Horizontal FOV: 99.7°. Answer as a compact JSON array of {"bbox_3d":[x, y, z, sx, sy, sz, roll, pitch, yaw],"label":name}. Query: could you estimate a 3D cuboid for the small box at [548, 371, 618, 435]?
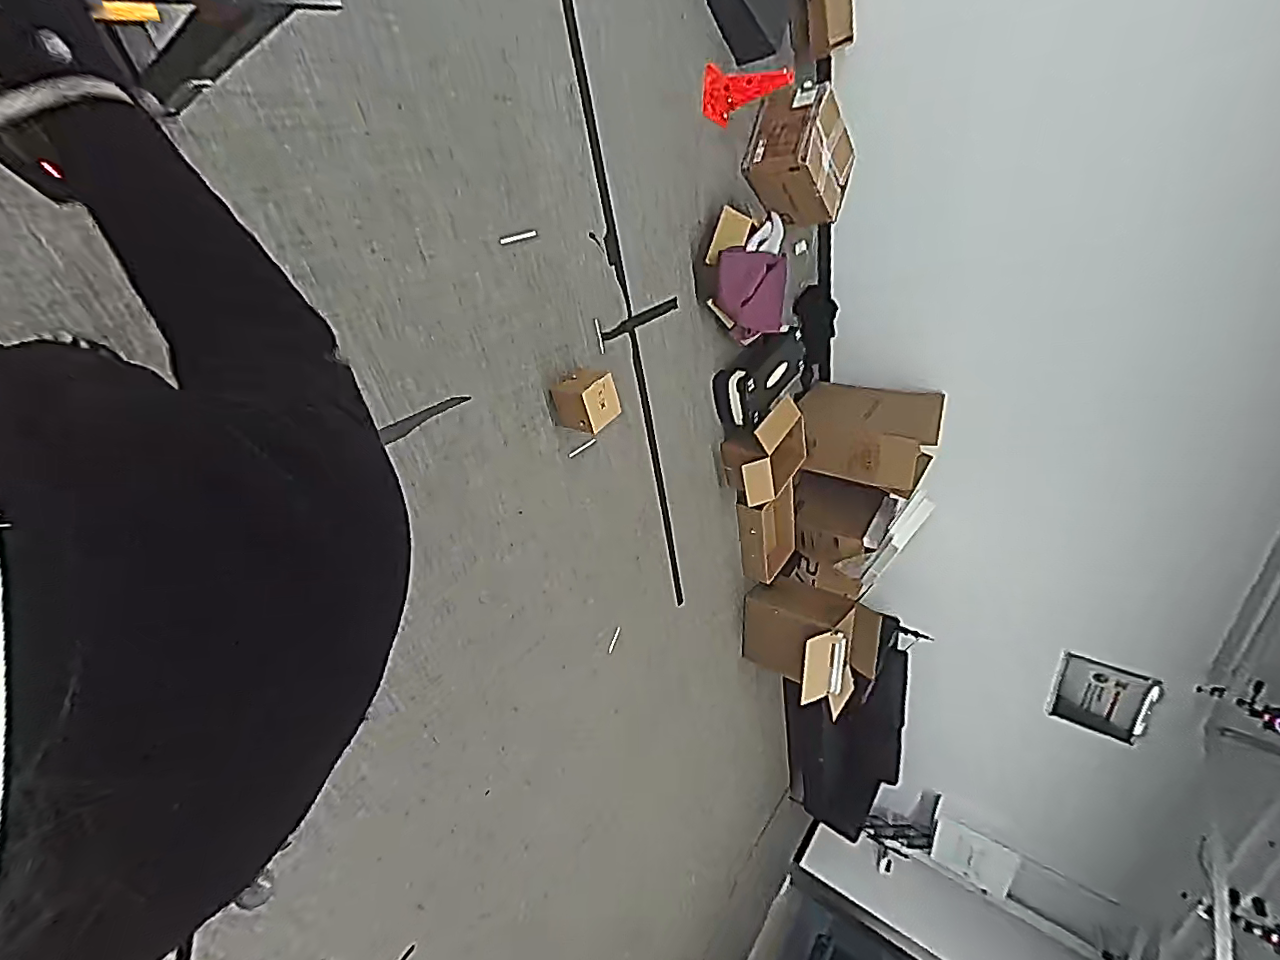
[{"bbox_3d":[-0.213,-0.294,2.021,0.168,0.176,0.179,-44,133,-35],"label":"small box"}]
